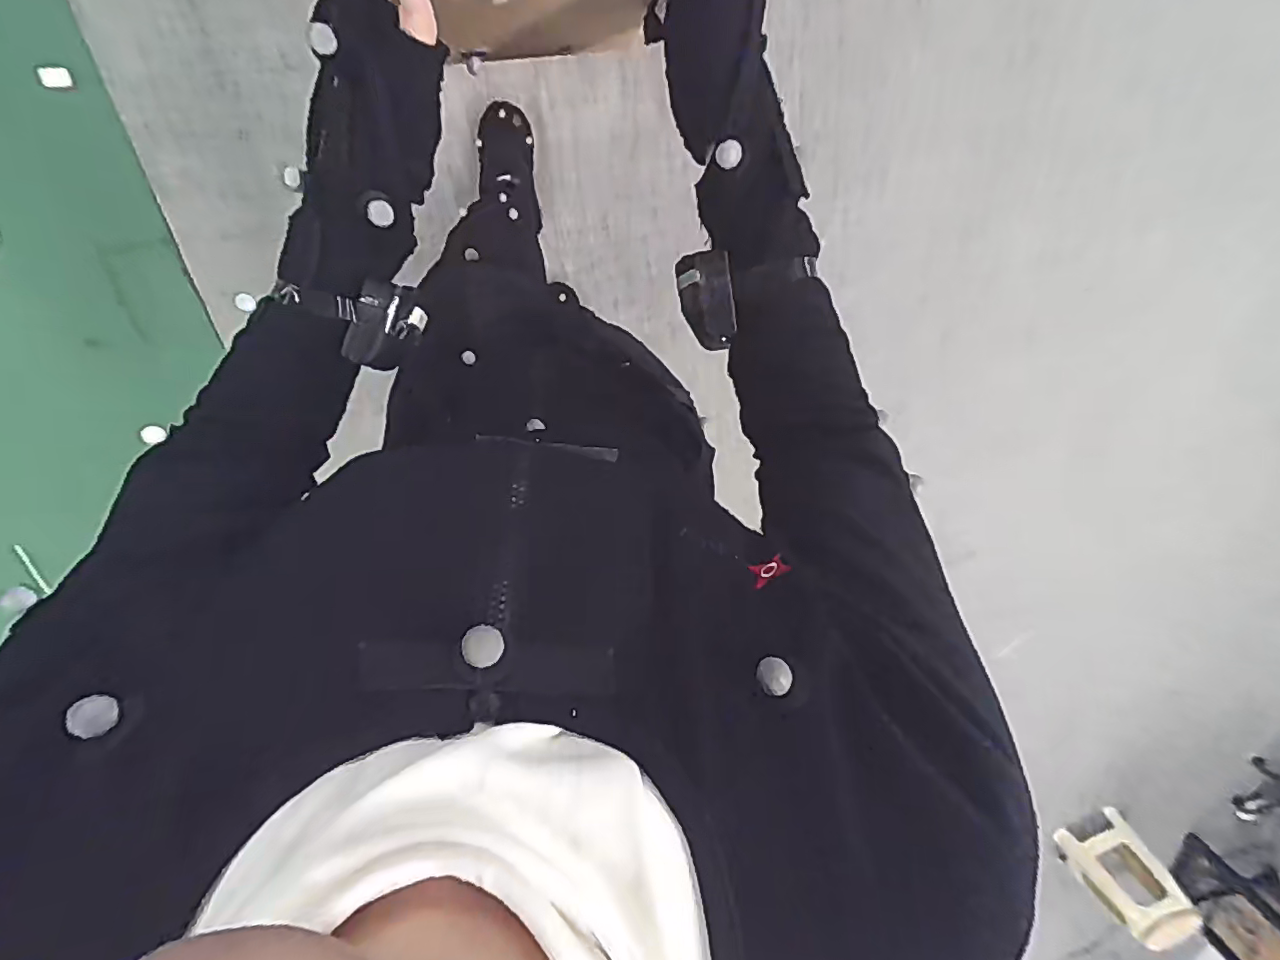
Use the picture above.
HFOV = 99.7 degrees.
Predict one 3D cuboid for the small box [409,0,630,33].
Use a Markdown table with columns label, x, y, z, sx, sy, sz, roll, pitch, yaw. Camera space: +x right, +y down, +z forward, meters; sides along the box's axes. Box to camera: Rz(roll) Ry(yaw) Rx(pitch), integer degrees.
| label | x | y | z | sx | sy | sz | roll | pitch | yaw |
| --- | --- | --- | --- | --- | --- | --- | --- | --- | --- |
| small box | -0.088 | -0.411 | 0.338 | 0.168 | 0.176 | 0.179 | -8 | 115 | -4 |
